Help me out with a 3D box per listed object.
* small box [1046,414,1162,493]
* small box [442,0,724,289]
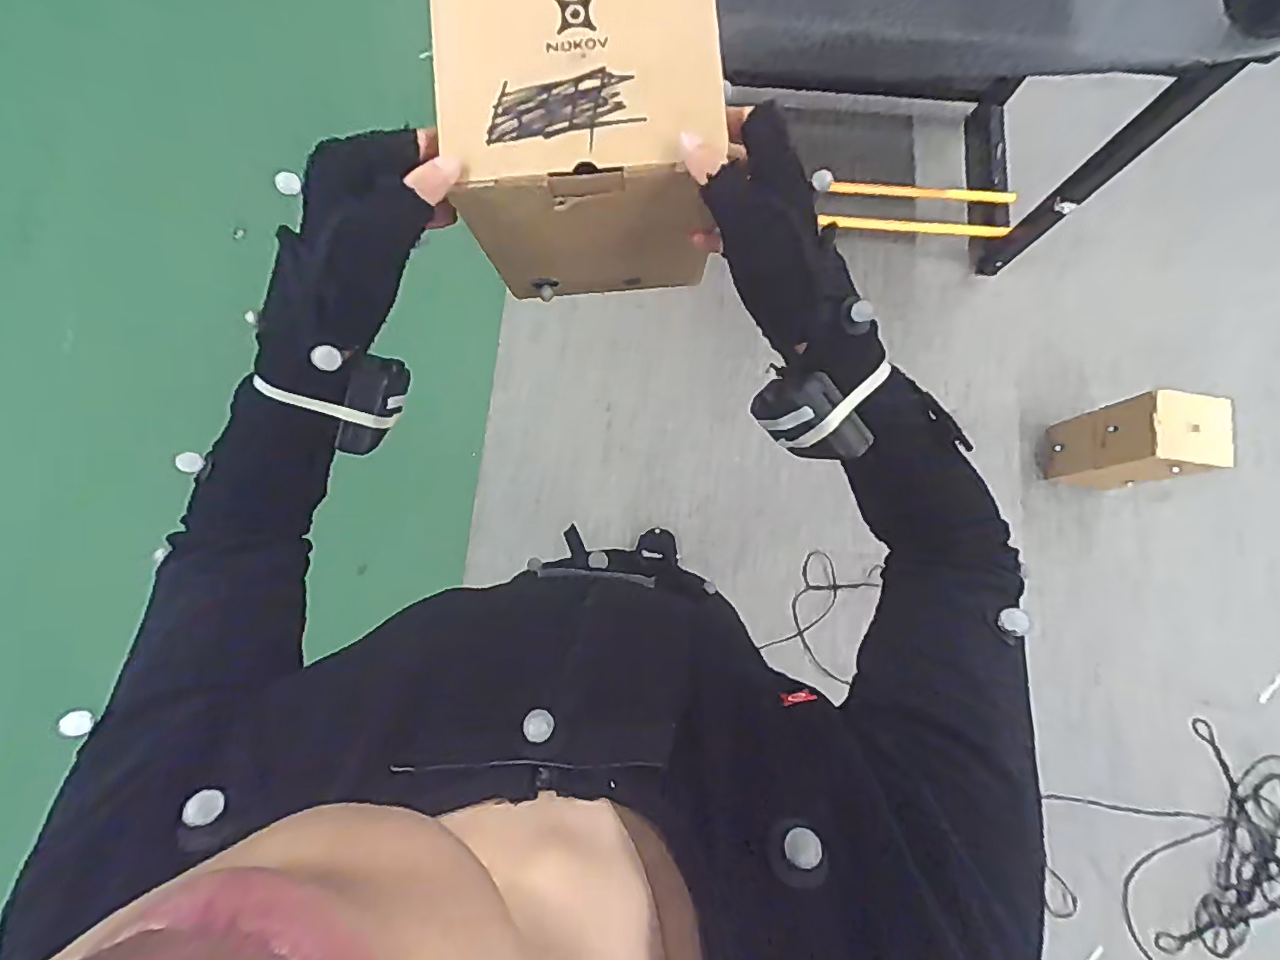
[{"bbox_3d":[1.261,-0.066,1.477,0.179,0.176,0.168,10,79,2],"label":"small box"},{"bbox_3d":[-0.033,-0.255,0.401,0.168,0.176,0.179,-4,86,1],"label":"small box"}]
